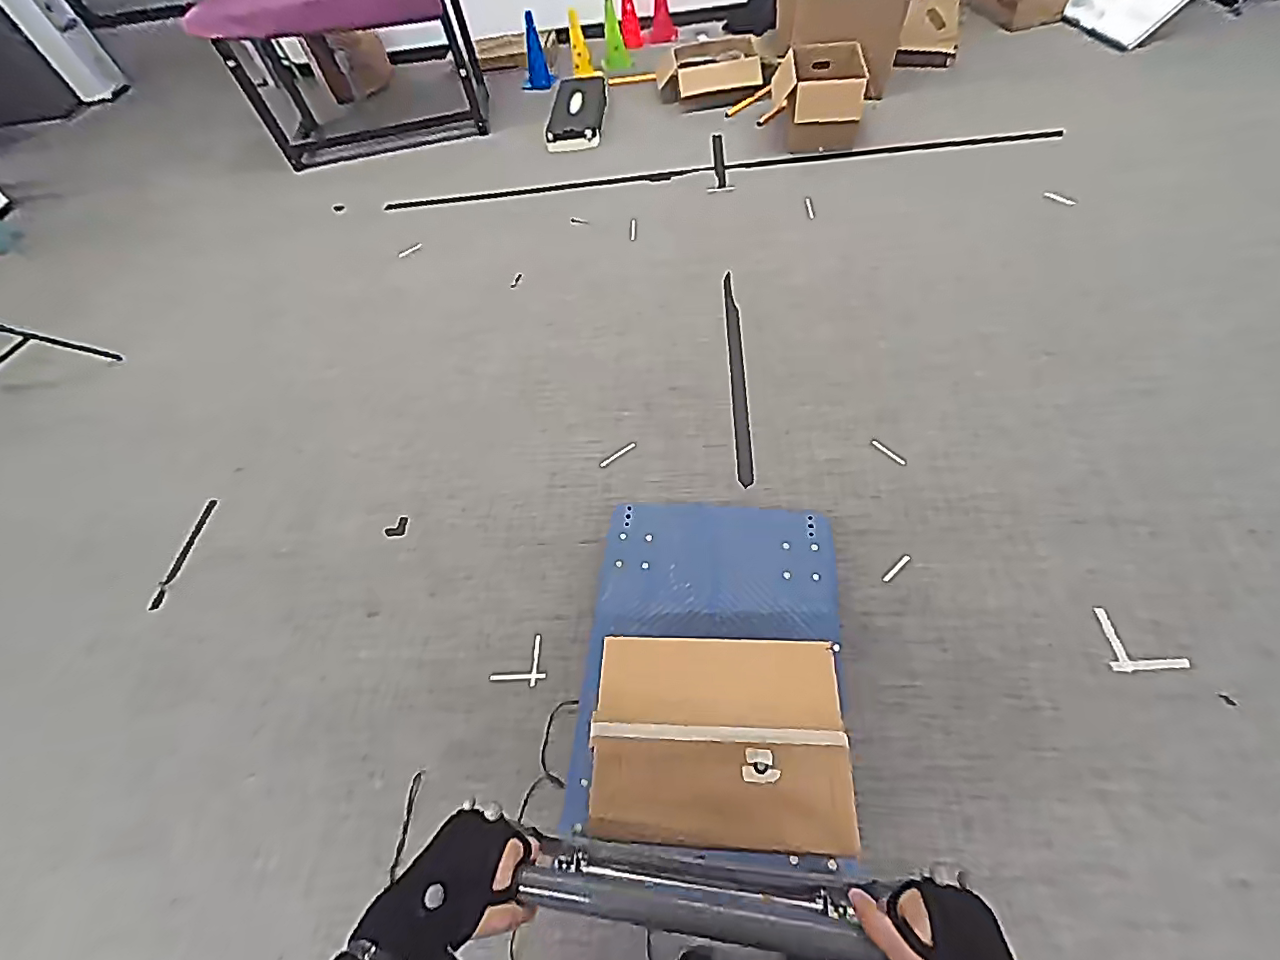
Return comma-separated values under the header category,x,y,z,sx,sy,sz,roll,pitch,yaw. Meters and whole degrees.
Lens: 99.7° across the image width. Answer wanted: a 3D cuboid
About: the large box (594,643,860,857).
category,x,y,z,sx,sy,sz,roll,pitch,yaw
large box,0.142,0.507,1.009,0.408,0.320,0.320,0,57,6
